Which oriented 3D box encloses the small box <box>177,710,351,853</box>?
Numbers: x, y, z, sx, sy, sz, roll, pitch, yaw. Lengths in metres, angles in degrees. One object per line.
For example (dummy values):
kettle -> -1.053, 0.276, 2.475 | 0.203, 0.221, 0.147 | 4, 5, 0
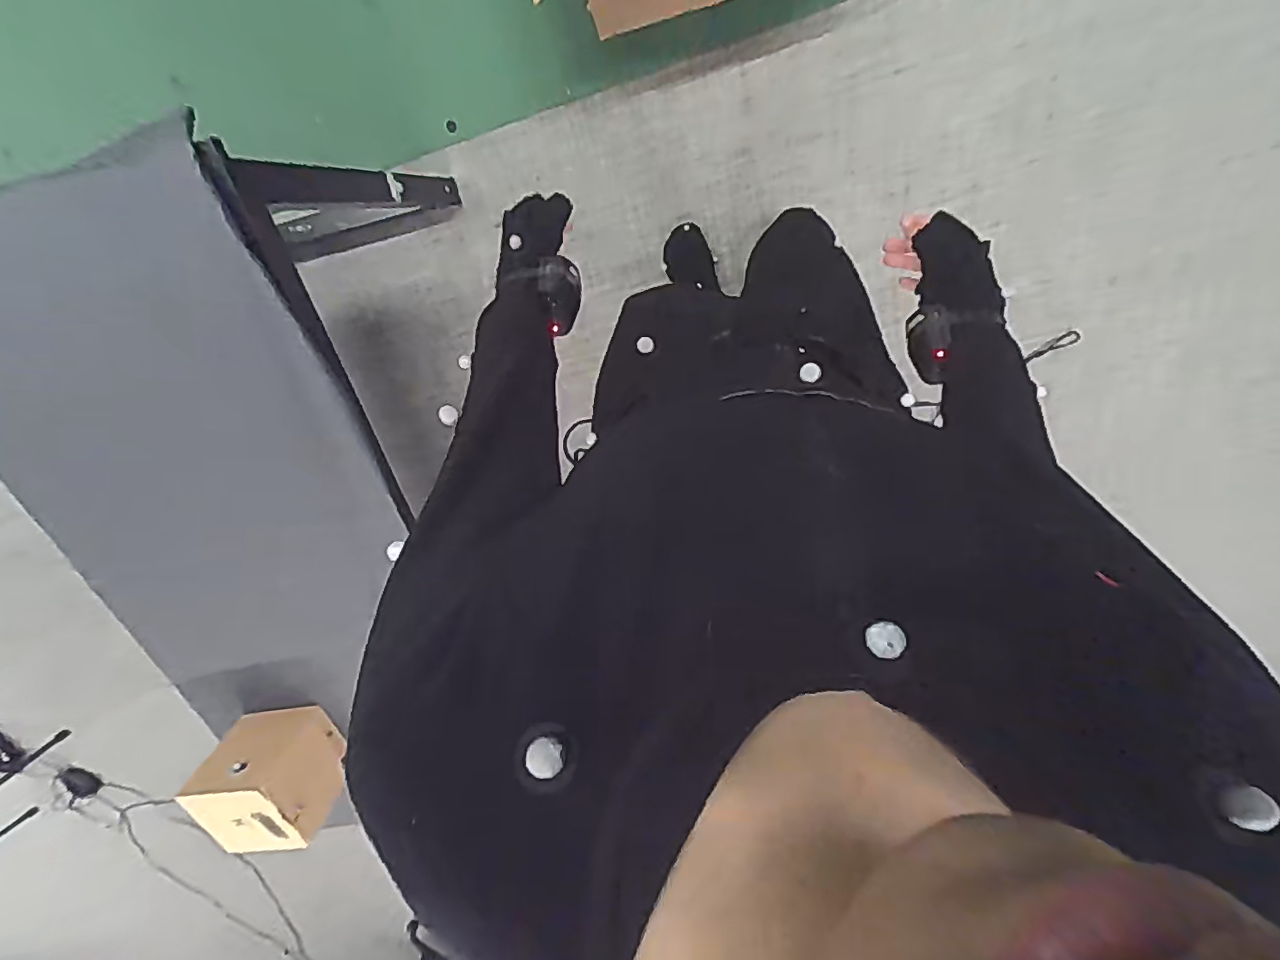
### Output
small box -> -0.669, 0.548, 0.995 | 0.179, 0.176, 0.168 | -11, 116, 11
